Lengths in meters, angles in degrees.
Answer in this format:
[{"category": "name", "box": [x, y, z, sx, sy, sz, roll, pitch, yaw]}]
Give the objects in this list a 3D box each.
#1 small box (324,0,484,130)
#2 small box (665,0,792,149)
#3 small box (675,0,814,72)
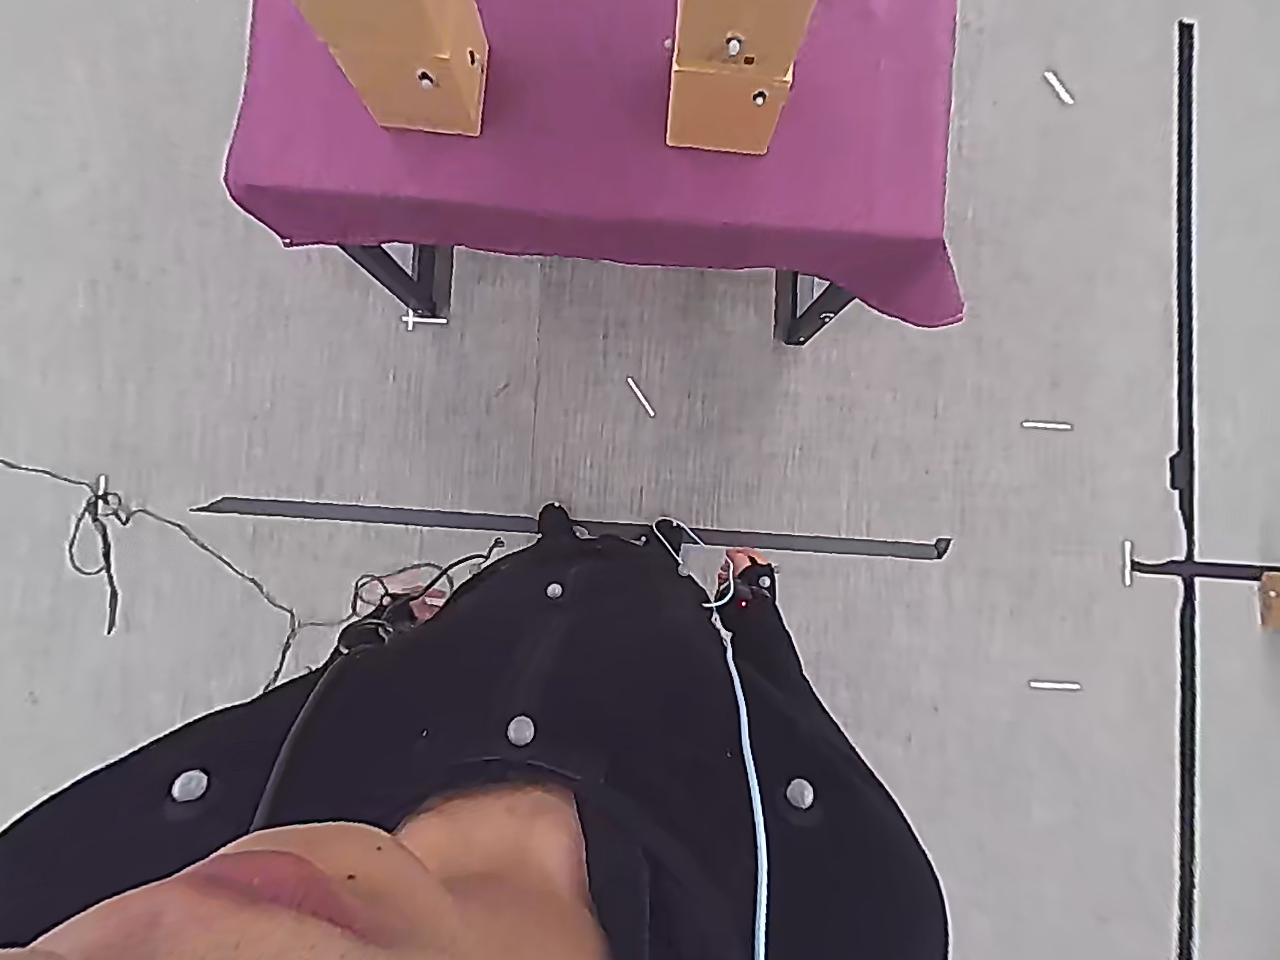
[{"category": "small box", "box": [-0.353, -0.683, 0.843, 0.179, 0.176, 0.168, 5, 88, -2]}, {"category": "small box", "box": [0.135, -0.660, 0.859, 0.179, 0.176, 0.168, 4, 87, -2]}, {"category": "small box", "box": [0.139, -0.679, 0.695, 0.168, 0.176, 0.179, 5, 88, -1]}]
